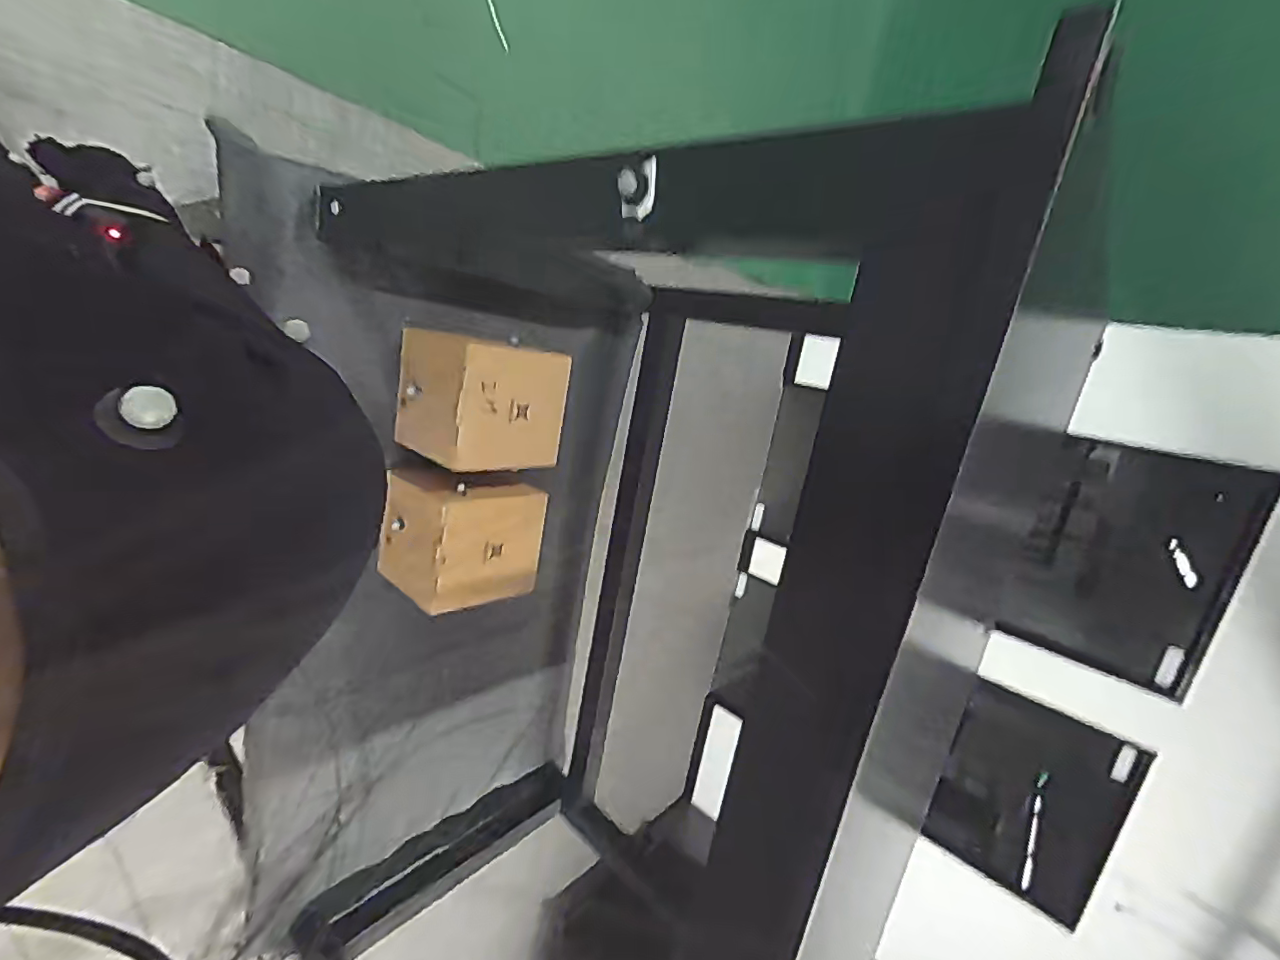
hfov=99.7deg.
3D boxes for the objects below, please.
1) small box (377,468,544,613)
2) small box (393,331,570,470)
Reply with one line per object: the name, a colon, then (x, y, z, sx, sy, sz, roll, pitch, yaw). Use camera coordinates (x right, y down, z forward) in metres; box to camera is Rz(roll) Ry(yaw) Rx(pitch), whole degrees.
small box: (-0.279, 0.079, 0.840, 0.179, 0.176, 0.168, -5, 110, -50)
small box: (-0.233, -0.119, 0.796, 0.179, 0.176, 0.168, -6, 111, -50)
